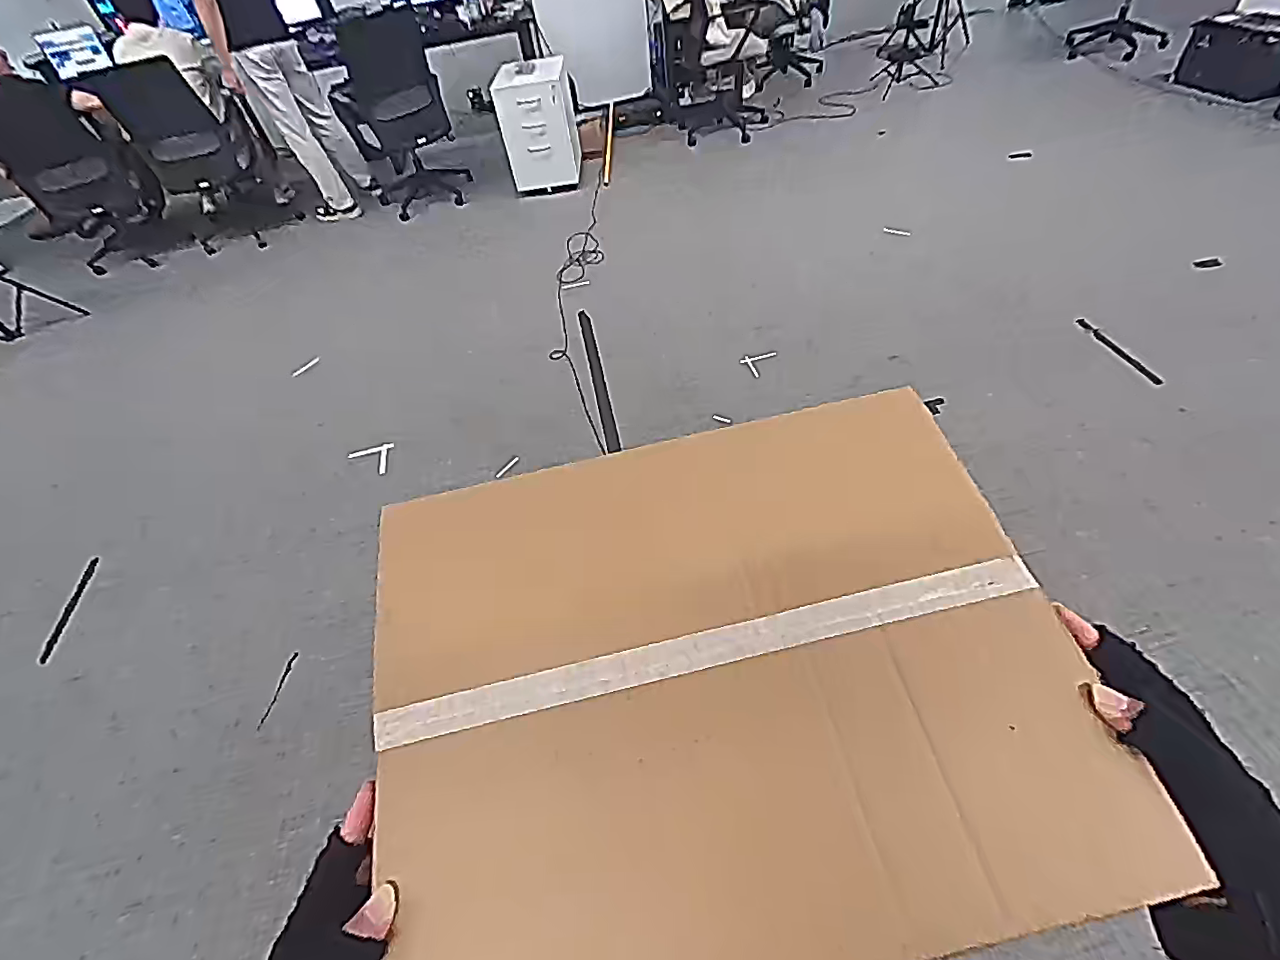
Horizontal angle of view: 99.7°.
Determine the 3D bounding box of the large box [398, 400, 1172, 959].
[{"bbox_3d":[0.057,0.186,0.466,0.408,0.320,0.320,-14,60,-2],"label":"large box"}]
